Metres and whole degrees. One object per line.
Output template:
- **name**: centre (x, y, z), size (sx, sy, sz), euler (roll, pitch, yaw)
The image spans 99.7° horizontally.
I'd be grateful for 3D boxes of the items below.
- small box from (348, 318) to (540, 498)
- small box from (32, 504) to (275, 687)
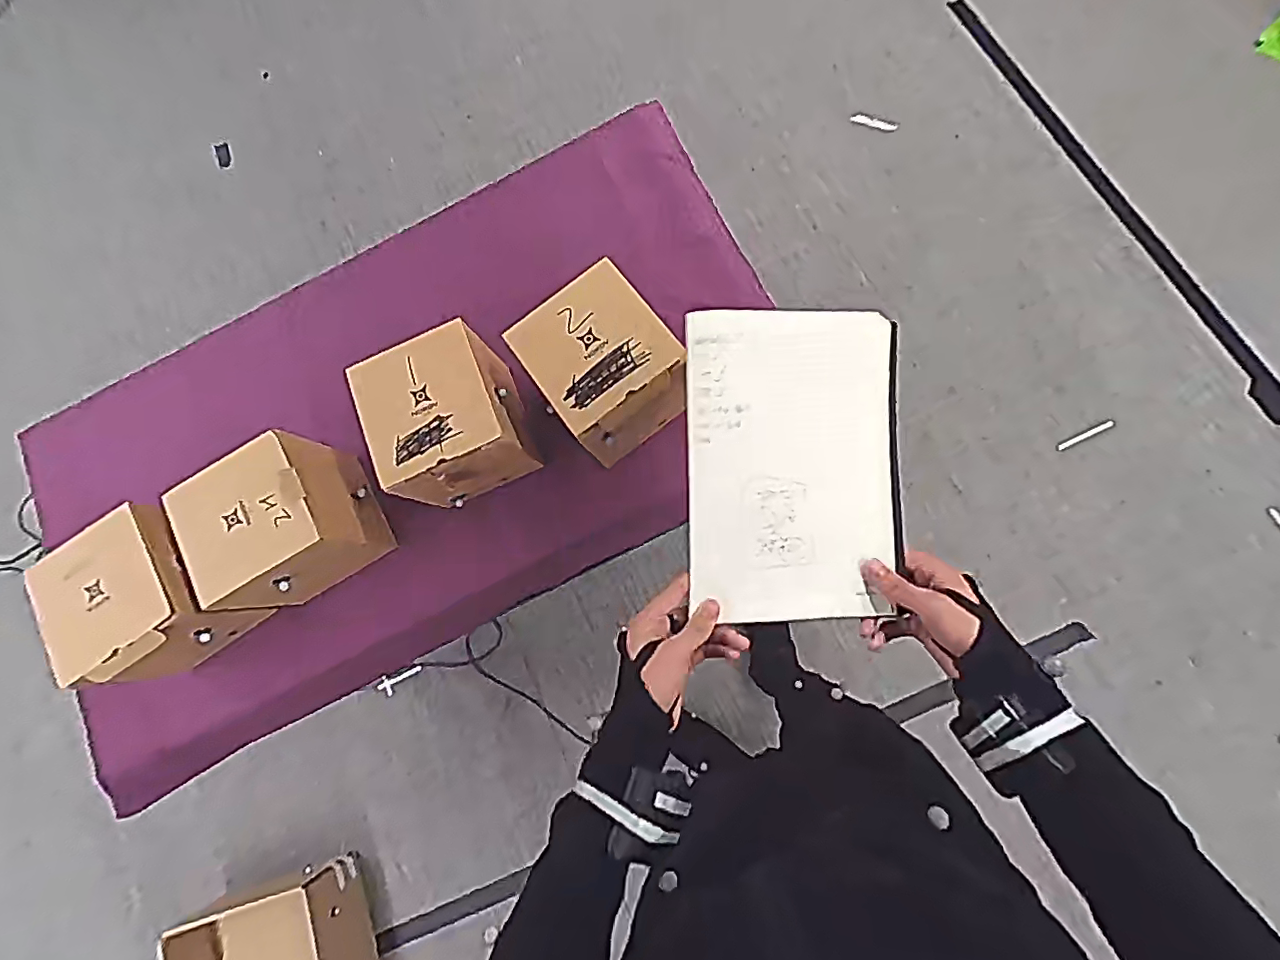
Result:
- **small box**: centre (-0.258, -0.084, 0.748), size (0.168, 0.176, 0.179), euler (-23, 77, 3)
- **small box**: centre (-0.666, 0.156, 0.761), size (0.168, 0.176, 0.179), euler (-34, 77, 0)
